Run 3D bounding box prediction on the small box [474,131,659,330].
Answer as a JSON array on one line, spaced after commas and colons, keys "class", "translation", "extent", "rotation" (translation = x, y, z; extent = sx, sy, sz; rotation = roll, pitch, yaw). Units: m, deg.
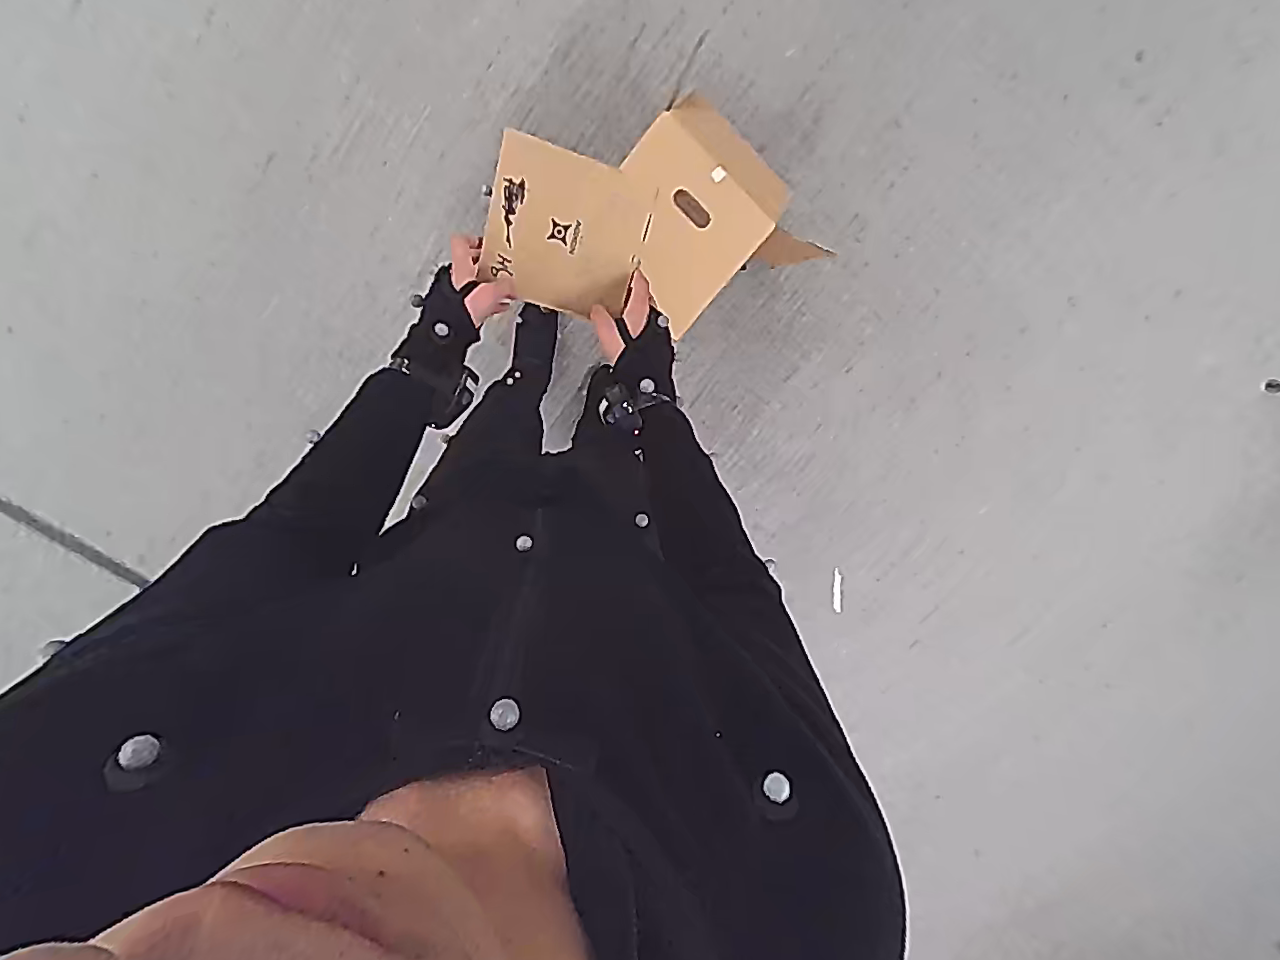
[{"class": "small box", "translation": [-0.096, -0.304, 0.678], "extent": [0.179, 0.176, 0.168], "rotation": [13, 110, -16]}]
